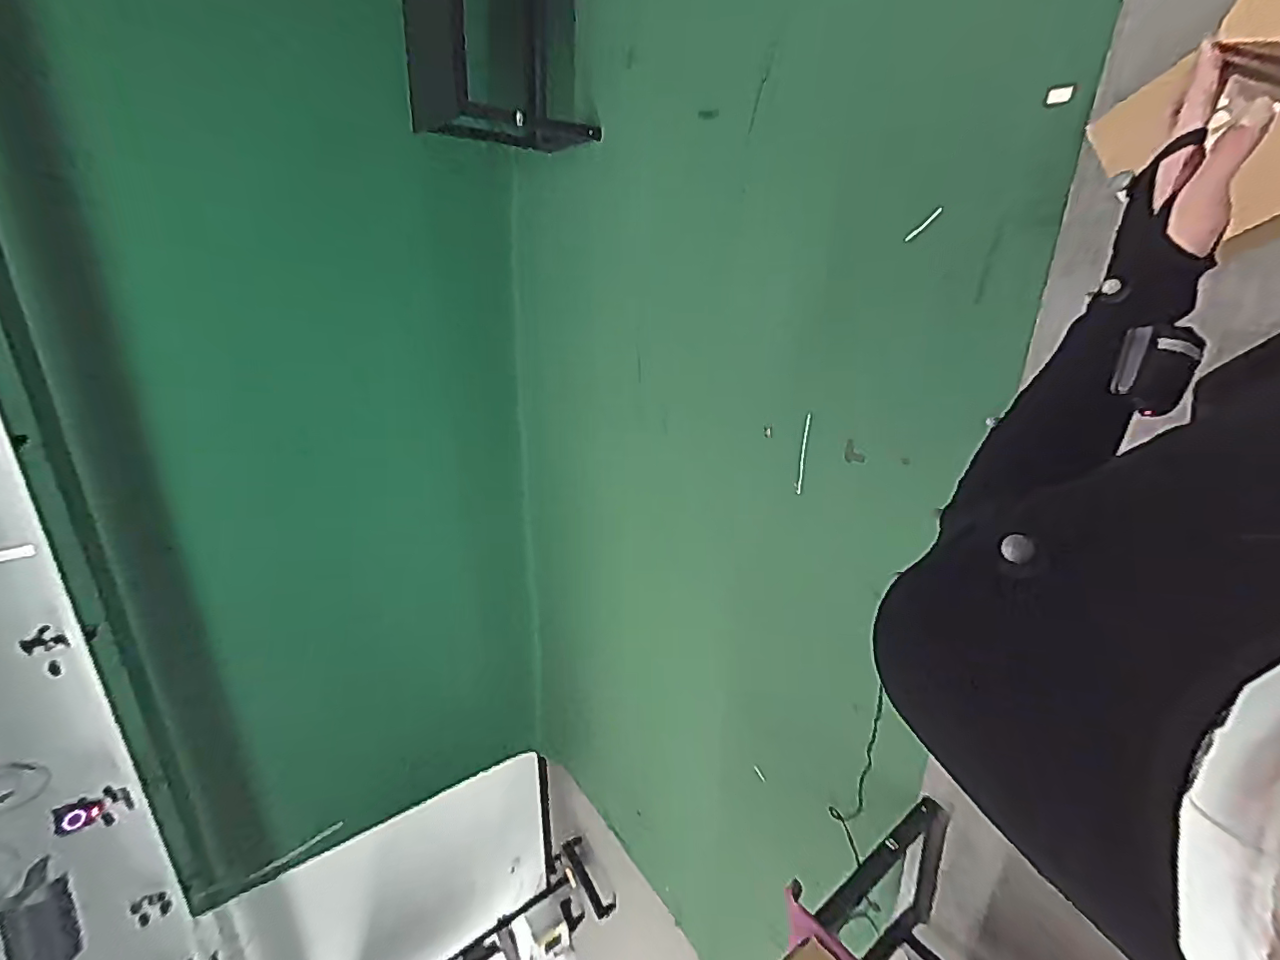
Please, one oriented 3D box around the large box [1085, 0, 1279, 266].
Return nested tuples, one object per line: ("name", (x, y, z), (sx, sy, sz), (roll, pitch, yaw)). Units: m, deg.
("large box", (1.111, -0.621, 0.926), (0.408, 0.320, 0.320), (-30, 75, 55))
